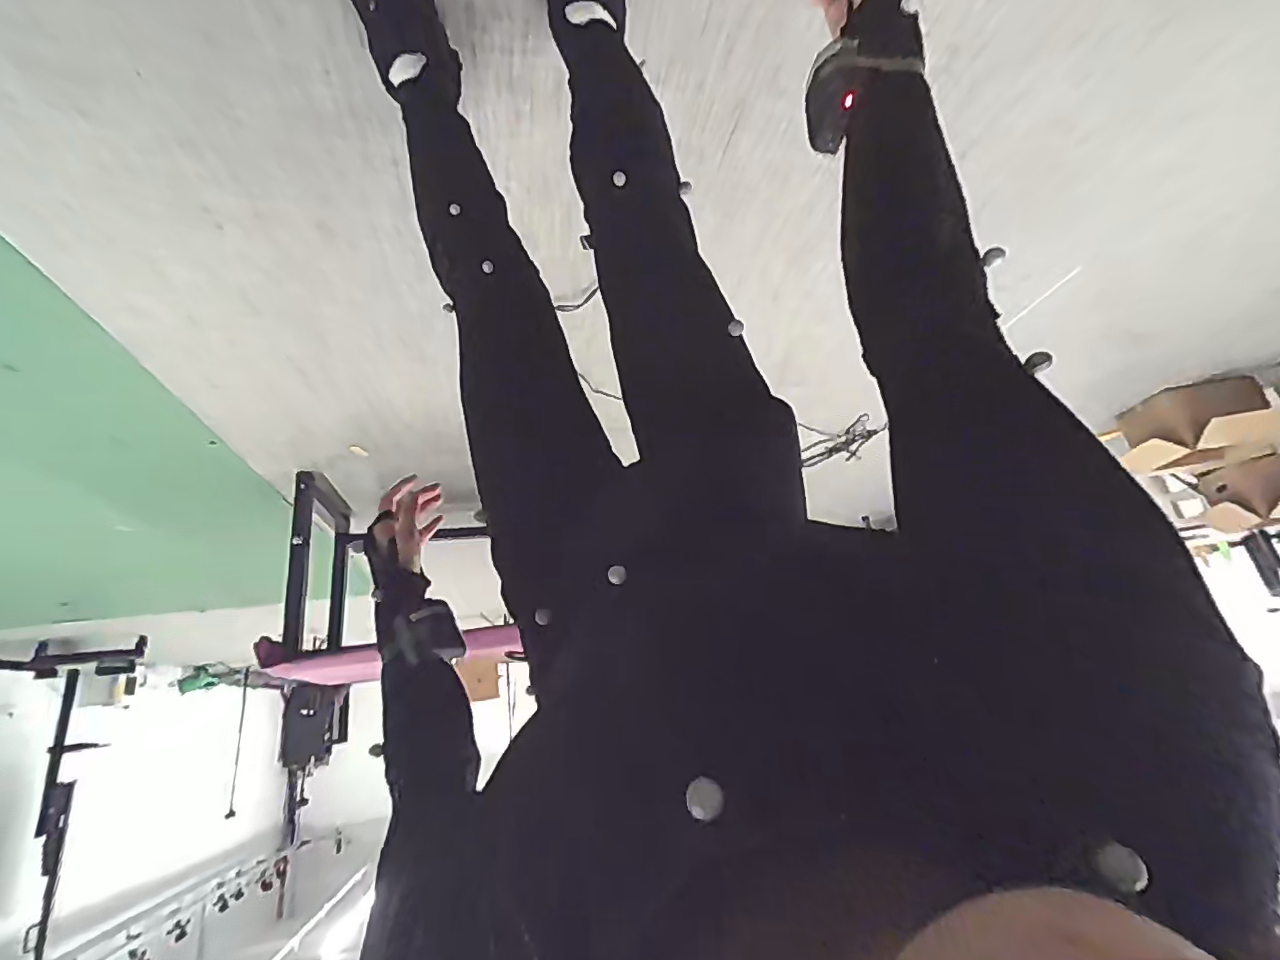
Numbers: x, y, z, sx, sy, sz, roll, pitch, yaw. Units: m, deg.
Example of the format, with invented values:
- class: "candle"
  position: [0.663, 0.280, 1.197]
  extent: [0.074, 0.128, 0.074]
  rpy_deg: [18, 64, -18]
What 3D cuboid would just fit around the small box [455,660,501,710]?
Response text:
- class: "small box"
  position: [-0.684, 0.866, 2.288]
  extent: [0.179, 0.176, 0.168]
  rpy_deg: [-3, 156, -15]
